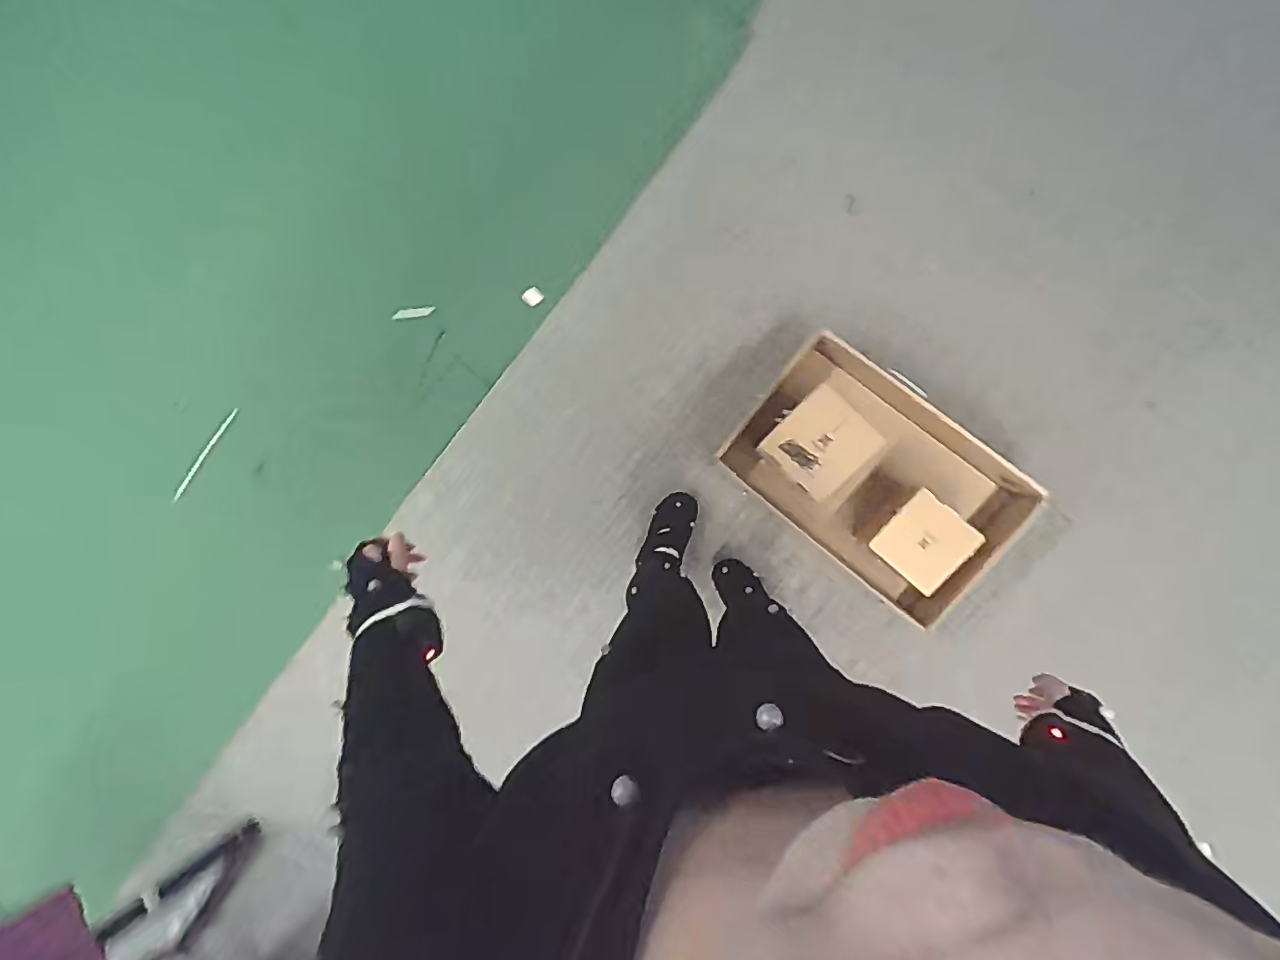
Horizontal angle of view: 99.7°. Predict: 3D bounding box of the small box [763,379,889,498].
[{"bbox_3d":[0.373,-0.079,1.122,0.179,0.176,0.168,-44,83,7],"label":"small box"}]
